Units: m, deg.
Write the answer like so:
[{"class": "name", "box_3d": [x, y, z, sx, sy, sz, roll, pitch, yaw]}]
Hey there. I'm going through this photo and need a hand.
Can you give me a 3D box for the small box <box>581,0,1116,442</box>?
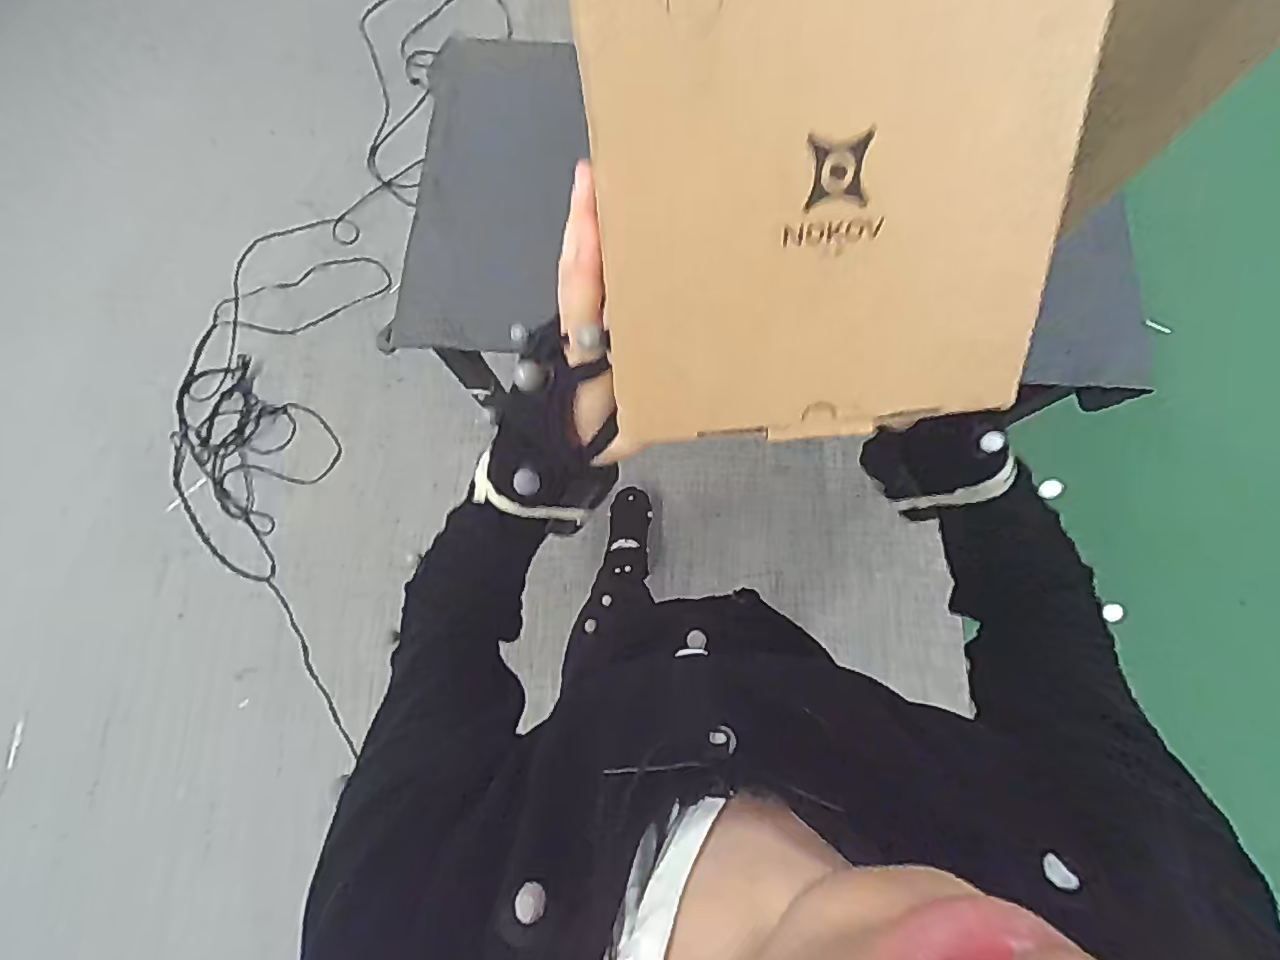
[{"class": "small box", "box_3d": [0.062, -0.136, 0.258, 0.168, 0.176, 0.179, -6, 119, -1]}]
